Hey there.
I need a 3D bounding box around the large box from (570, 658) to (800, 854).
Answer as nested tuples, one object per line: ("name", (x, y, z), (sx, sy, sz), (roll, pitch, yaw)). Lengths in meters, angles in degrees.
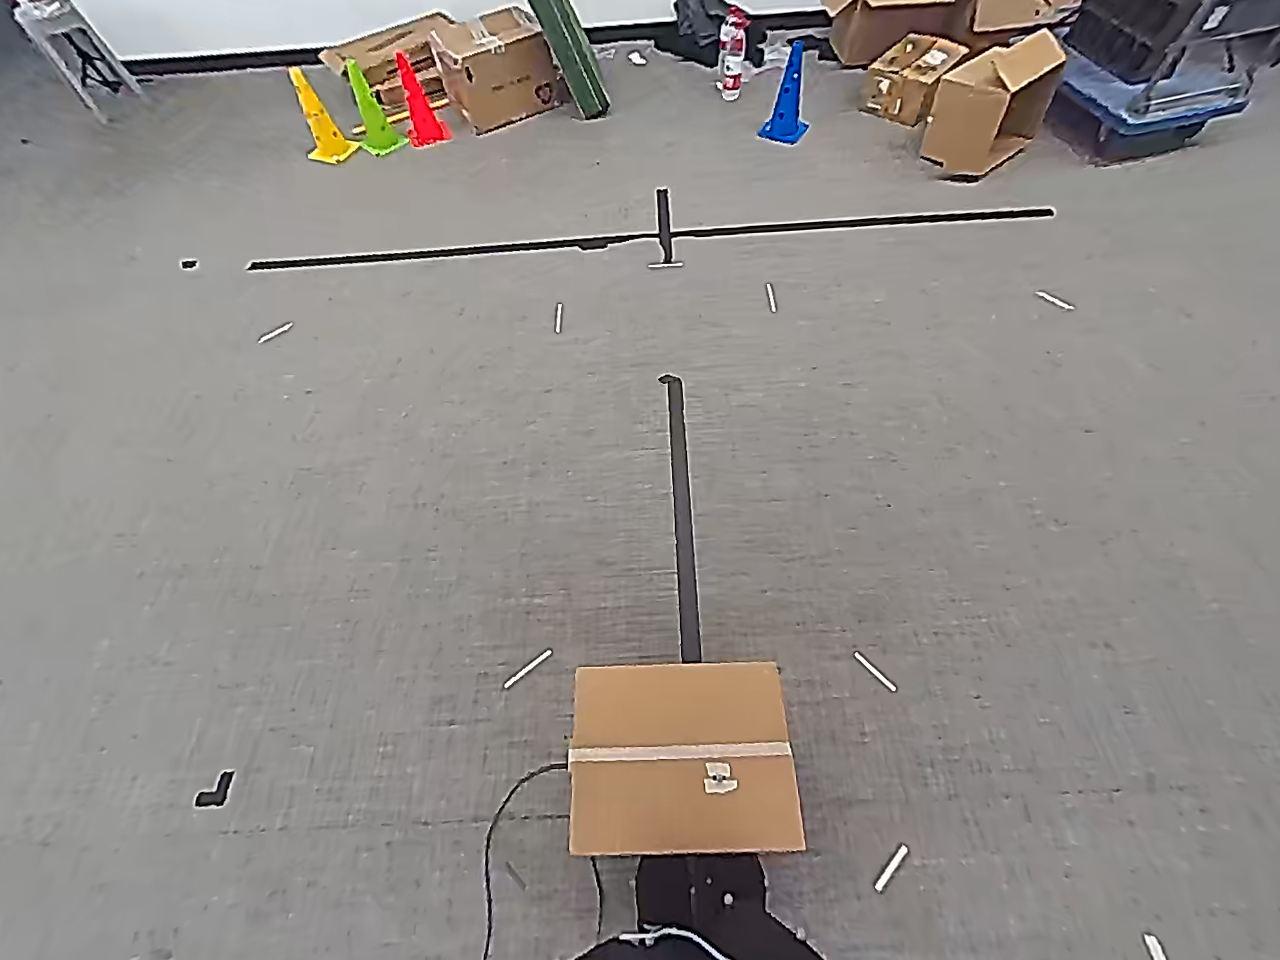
("large box", (0.074, 0.570, 1.123), (0.408, 0.320, 0.320), (-2, 60, 1))
